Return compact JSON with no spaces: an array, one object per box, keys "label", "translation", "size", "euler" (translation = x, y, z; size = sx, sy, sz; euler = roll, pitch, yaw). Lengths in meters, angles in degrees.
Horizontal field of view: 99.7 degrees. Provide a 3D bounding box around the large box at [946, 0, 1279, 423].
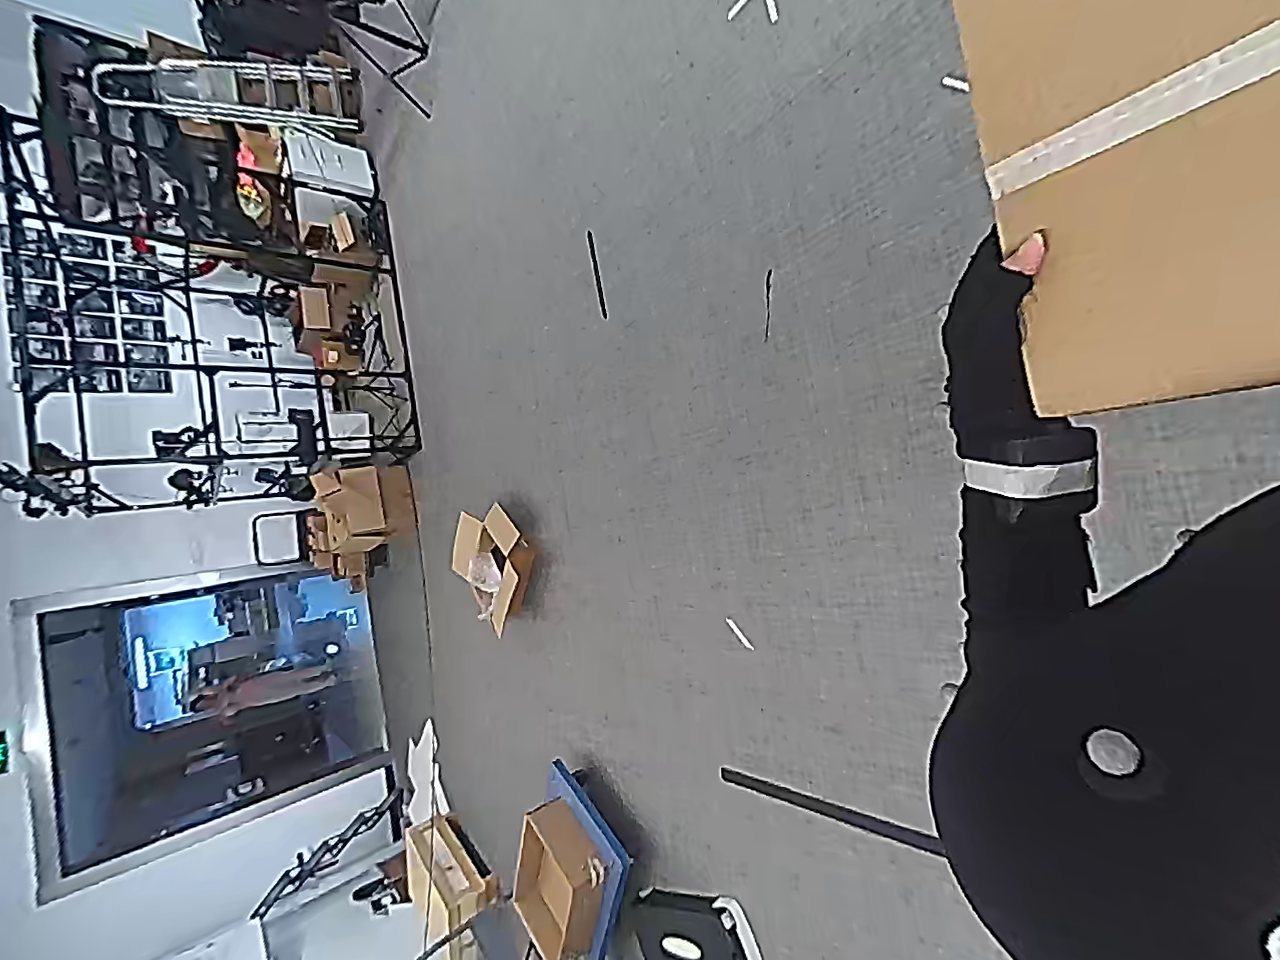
[{"label":"large box","translation":[0.467,-0.242,0.288],"size":[0.408,0.320,0.320],"euler":[-10,94,55]}]
